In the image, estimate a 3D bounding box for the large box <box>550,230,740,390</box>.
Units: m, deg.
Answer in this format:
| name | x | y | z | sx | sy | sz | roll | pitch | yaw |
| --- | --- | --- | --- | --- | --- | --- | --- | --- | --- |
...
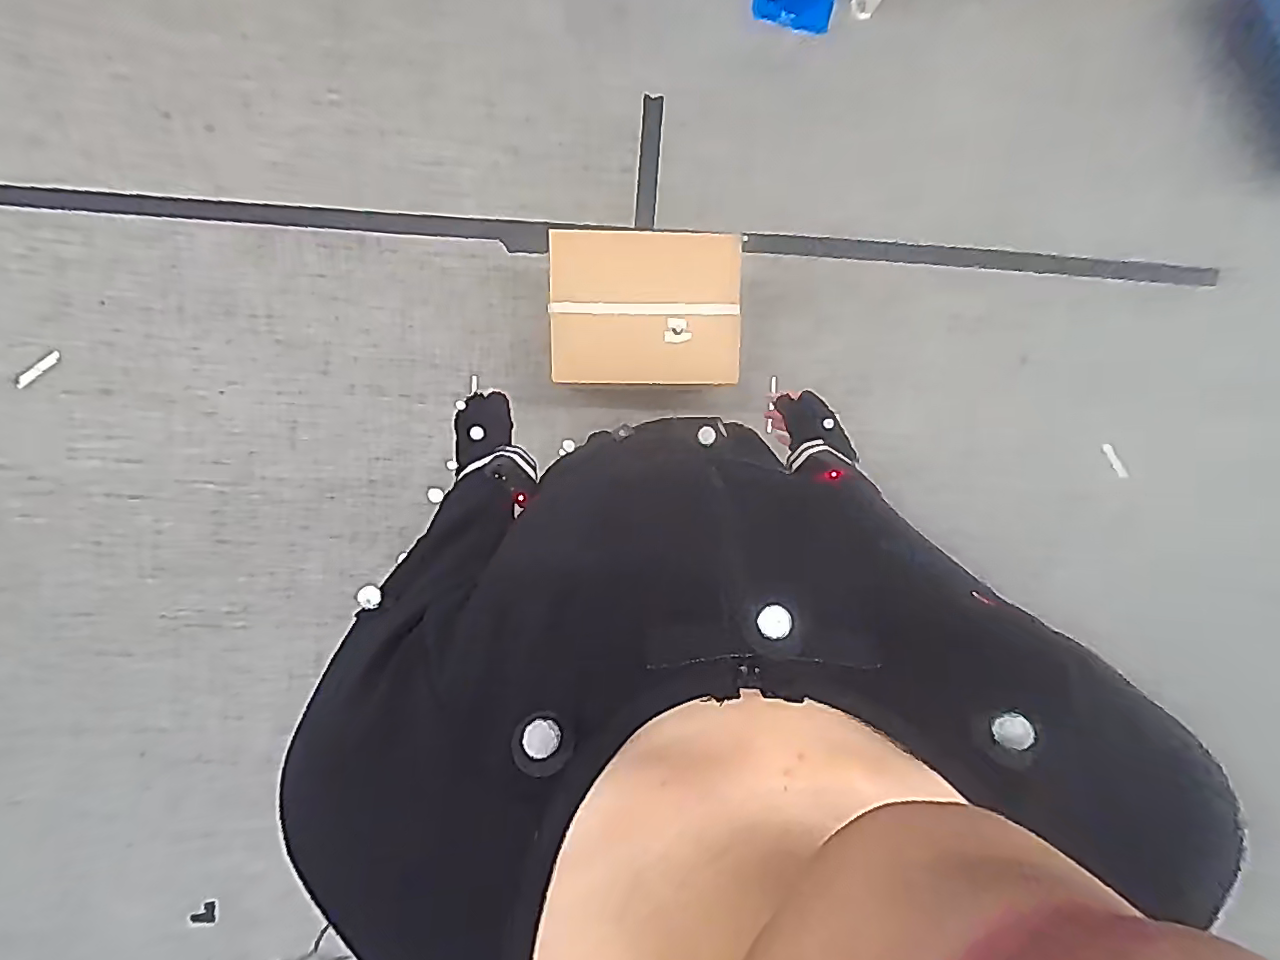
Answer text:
| name | x | y | z | sx | sy | sz | roll | pitch | yaw |
| --- | --- | --- | --- | --- | --- | --- | --- | --- | --- |
| large box | 0.001 | -0.382 | 1.289 | 0.408 | 0.320 | 0.320 | -1 | 98 | -4 |
